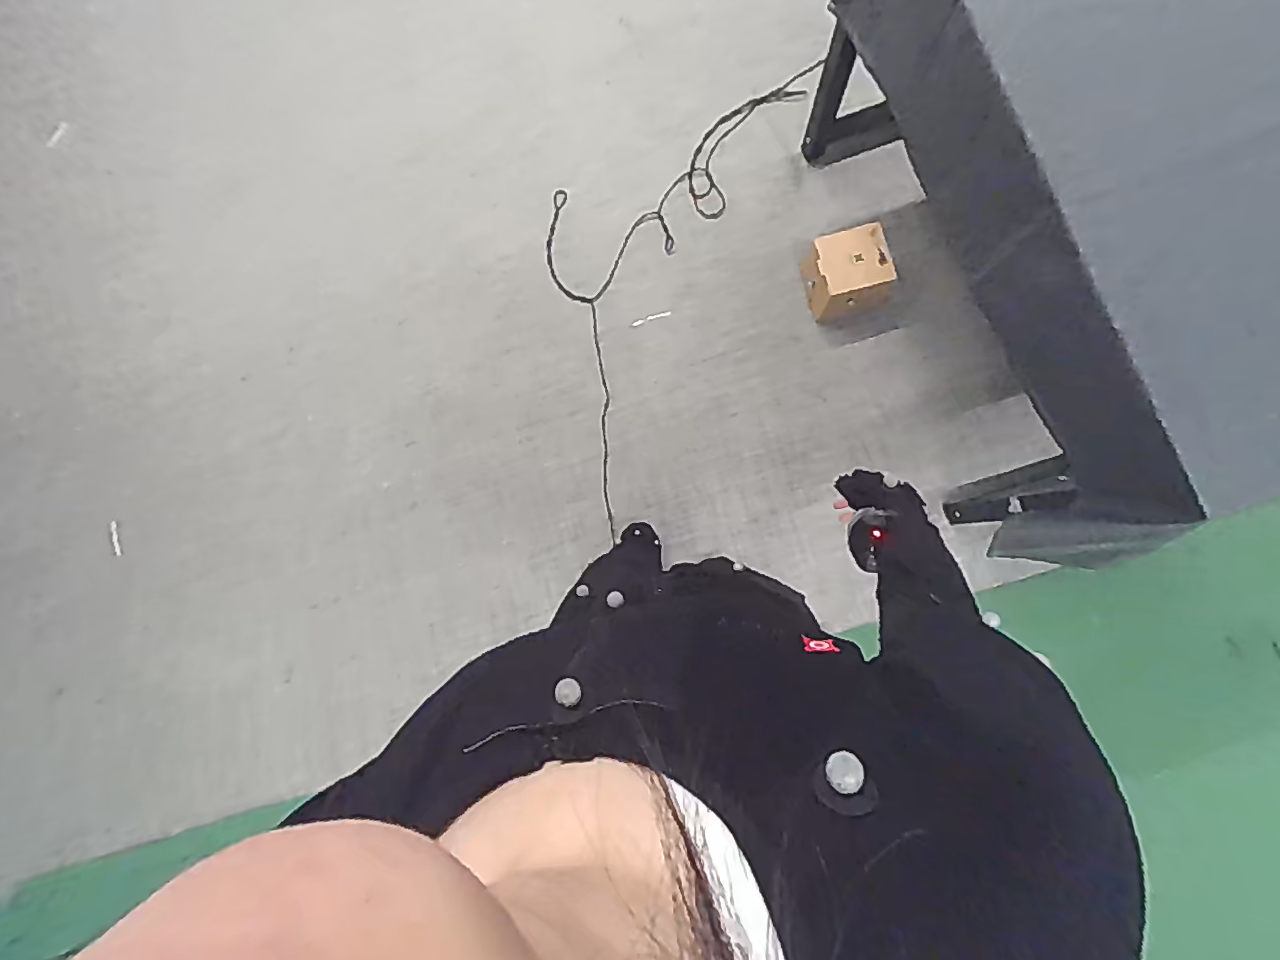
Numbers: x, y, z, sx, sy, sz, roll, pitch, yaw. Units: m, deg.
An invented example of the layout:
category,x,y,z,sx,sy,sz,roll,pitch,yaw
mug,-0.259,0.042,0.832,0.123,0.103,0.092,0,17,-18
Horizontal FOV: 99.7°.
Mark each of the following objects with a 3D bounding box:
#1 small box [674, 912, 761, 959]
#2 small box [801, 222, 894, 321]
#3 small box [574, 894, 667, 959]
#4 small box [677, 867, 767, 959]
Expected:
category,x,y,z,sx,sy,sz,roll,pitch,yaw
small box,0.173,1.050,1.122,0.179,0.176,0.168,-18,82,3
small box,0.545,-0.550,1.452,0.179,0.176,0.168,-14,81,3
small box,-0.040,1.152,1.291,0.168,0.176,0.179,-23,82,1
small box,0.191,1.063,1.284,0.168,0.176,0.179,-20,82,2
